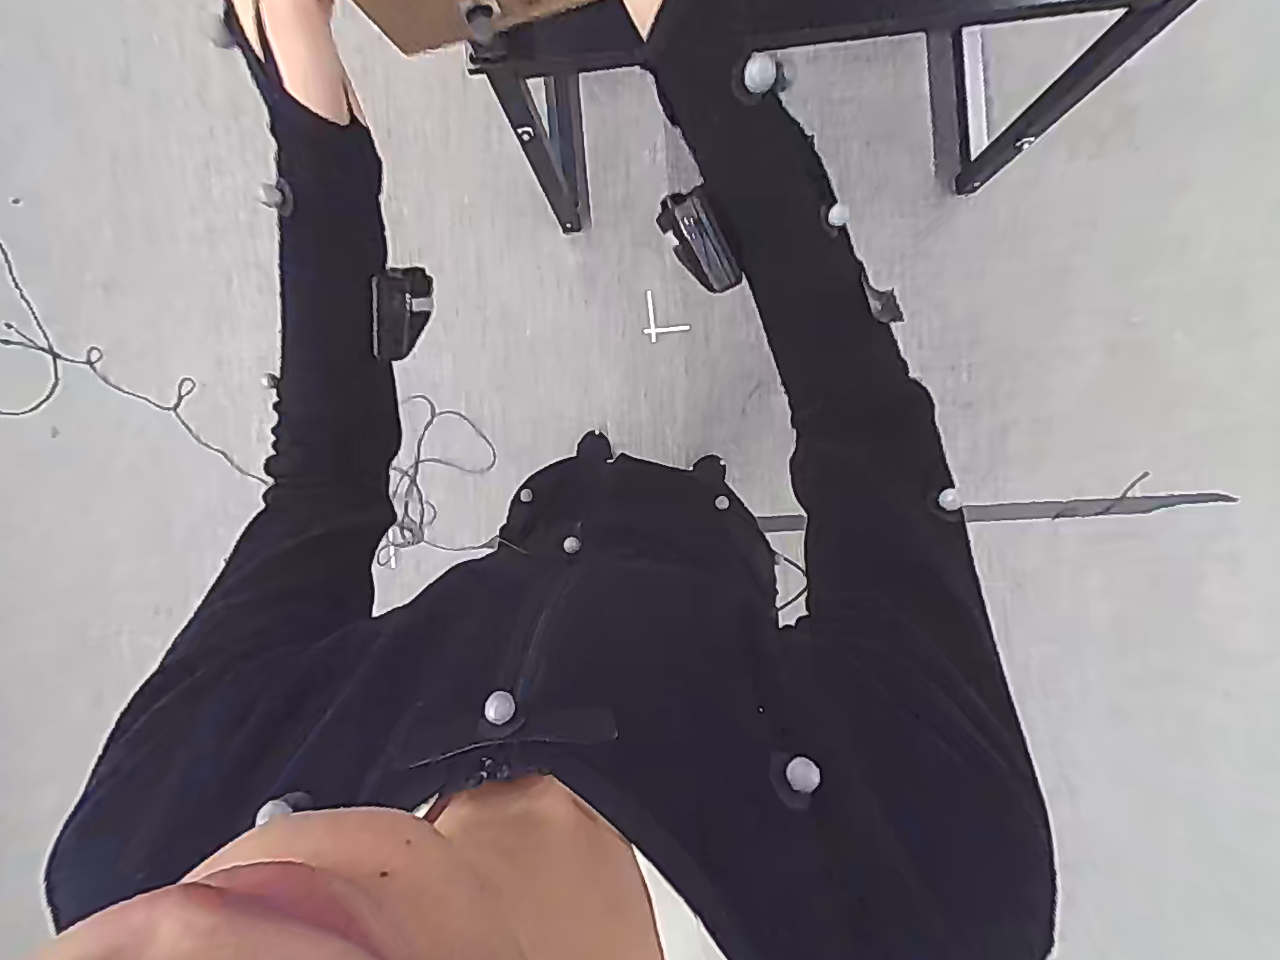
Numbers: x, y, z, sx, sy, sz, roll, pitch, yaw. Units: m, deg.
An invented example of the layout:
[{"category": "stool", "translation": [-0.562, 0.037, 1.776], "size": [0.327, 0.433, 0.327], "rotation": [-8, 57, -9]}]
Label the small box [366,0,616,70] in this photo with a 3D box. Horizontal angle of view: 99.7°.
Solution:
[{"category": "small box", "translation": [-0.112, -0.380, 0.299], "size": [0.168, 0.176, 0.179], "rotation": [-15, 107, 5]}]
